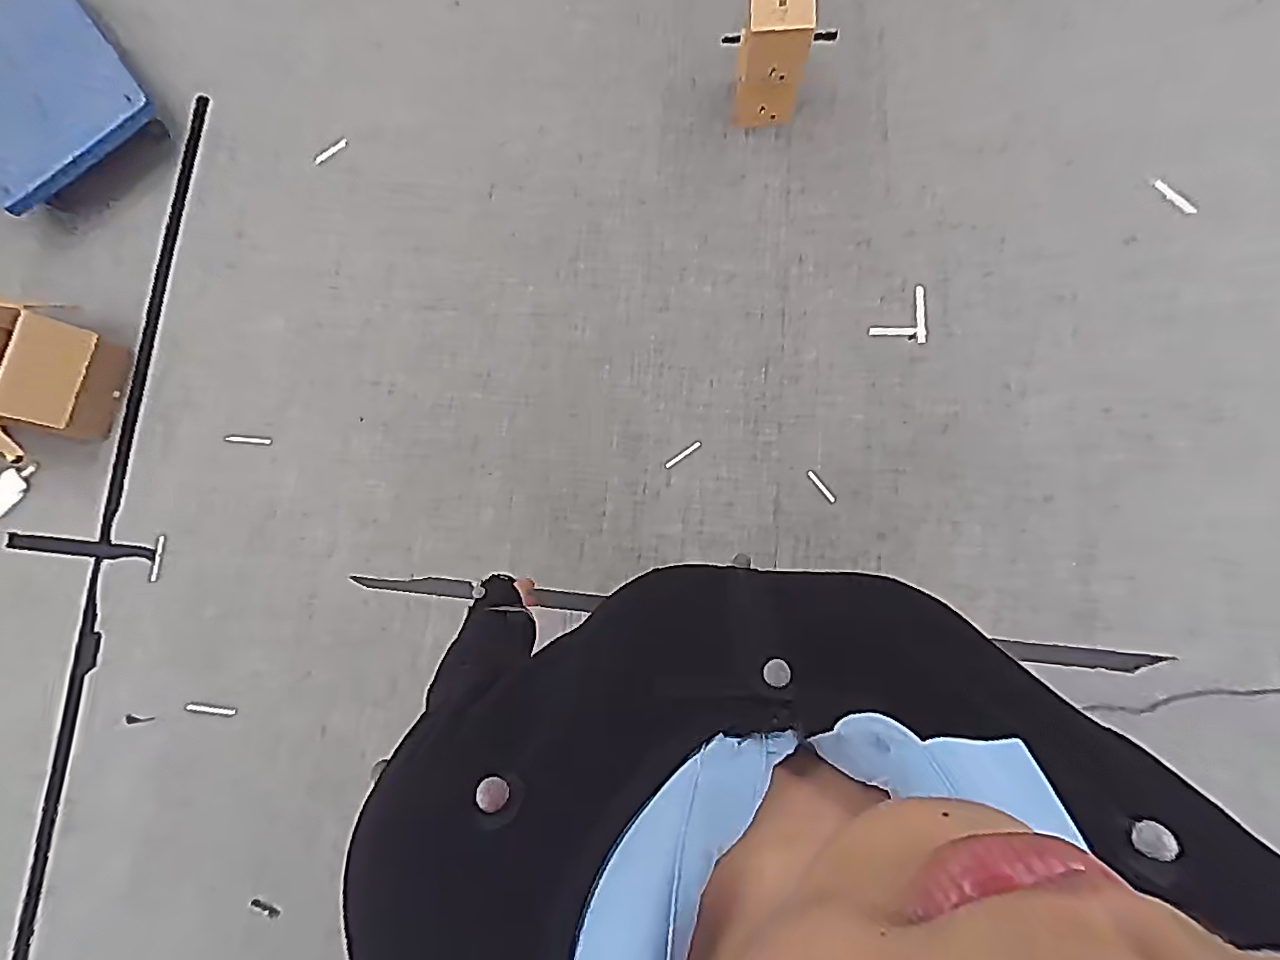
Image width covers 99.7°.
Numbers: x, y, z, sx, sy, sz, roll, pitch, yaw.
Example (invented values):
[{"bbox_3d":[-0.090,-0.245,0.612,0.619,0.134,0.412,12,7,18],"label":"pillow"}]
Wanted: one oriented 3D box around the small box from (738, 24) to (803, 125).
[{"bbox_3d":[0.388,-1.216,1.630,0.168,0.176,0.179,-2,81,5],"label":"small box"}]
